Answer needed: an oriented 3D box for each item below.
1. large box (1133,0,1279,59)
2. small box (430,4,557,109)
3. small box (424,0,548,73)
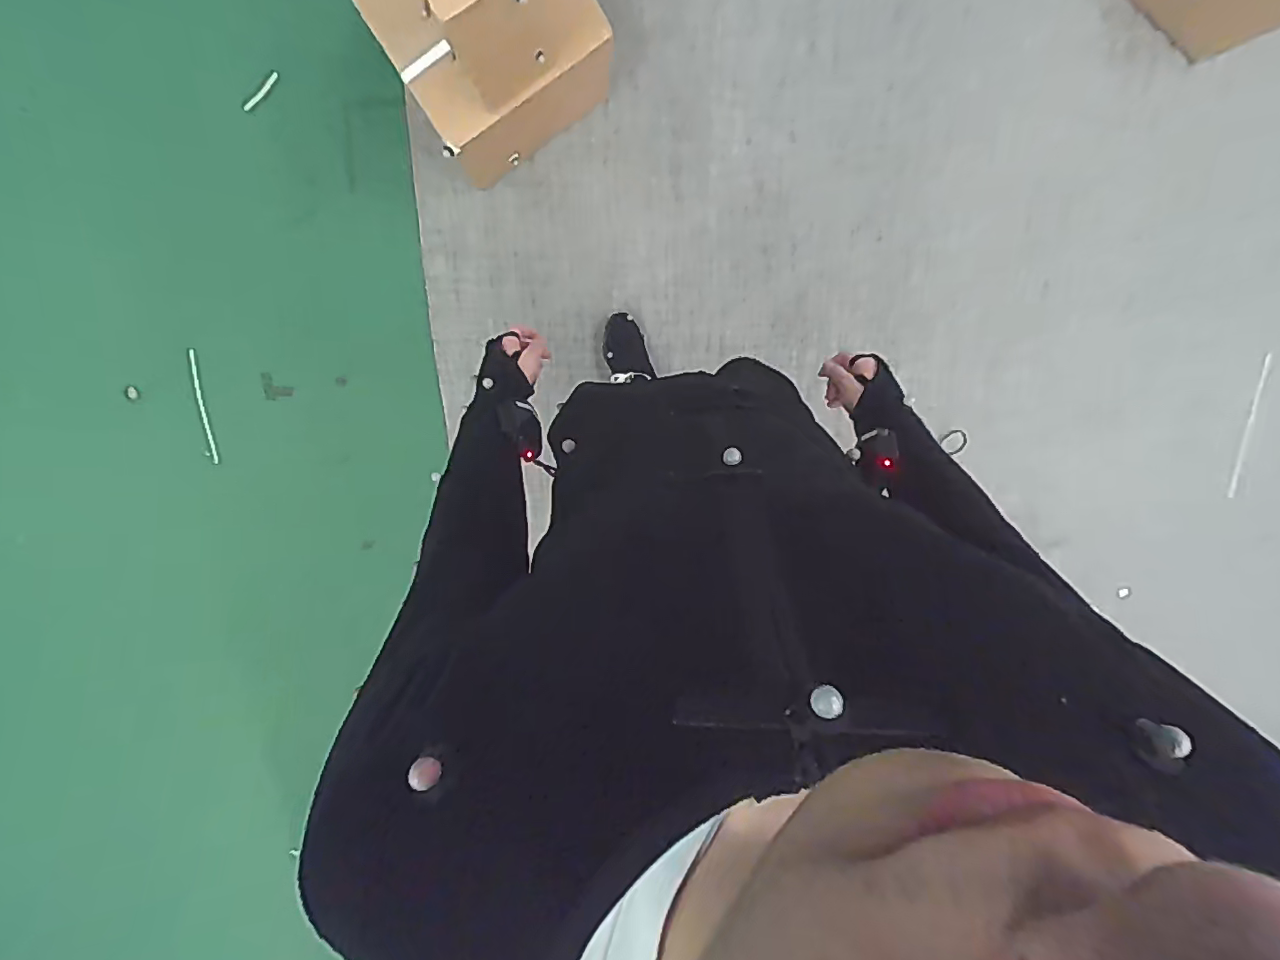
[{"bbox_3d":[1.390,-1.276,1.211,0.408,0.320,0.320,29,101,-10],"label":"large box"},{"bbox_3d":[-0.263,-0.821,0.974,0.179,0.176,0.168,-32,106,6],"label":"small box"},{"bbox_3d":[-0.252,-0.775,0.816,0.179,0.176,0.168,-30,105,5],"label":"small box"}]
